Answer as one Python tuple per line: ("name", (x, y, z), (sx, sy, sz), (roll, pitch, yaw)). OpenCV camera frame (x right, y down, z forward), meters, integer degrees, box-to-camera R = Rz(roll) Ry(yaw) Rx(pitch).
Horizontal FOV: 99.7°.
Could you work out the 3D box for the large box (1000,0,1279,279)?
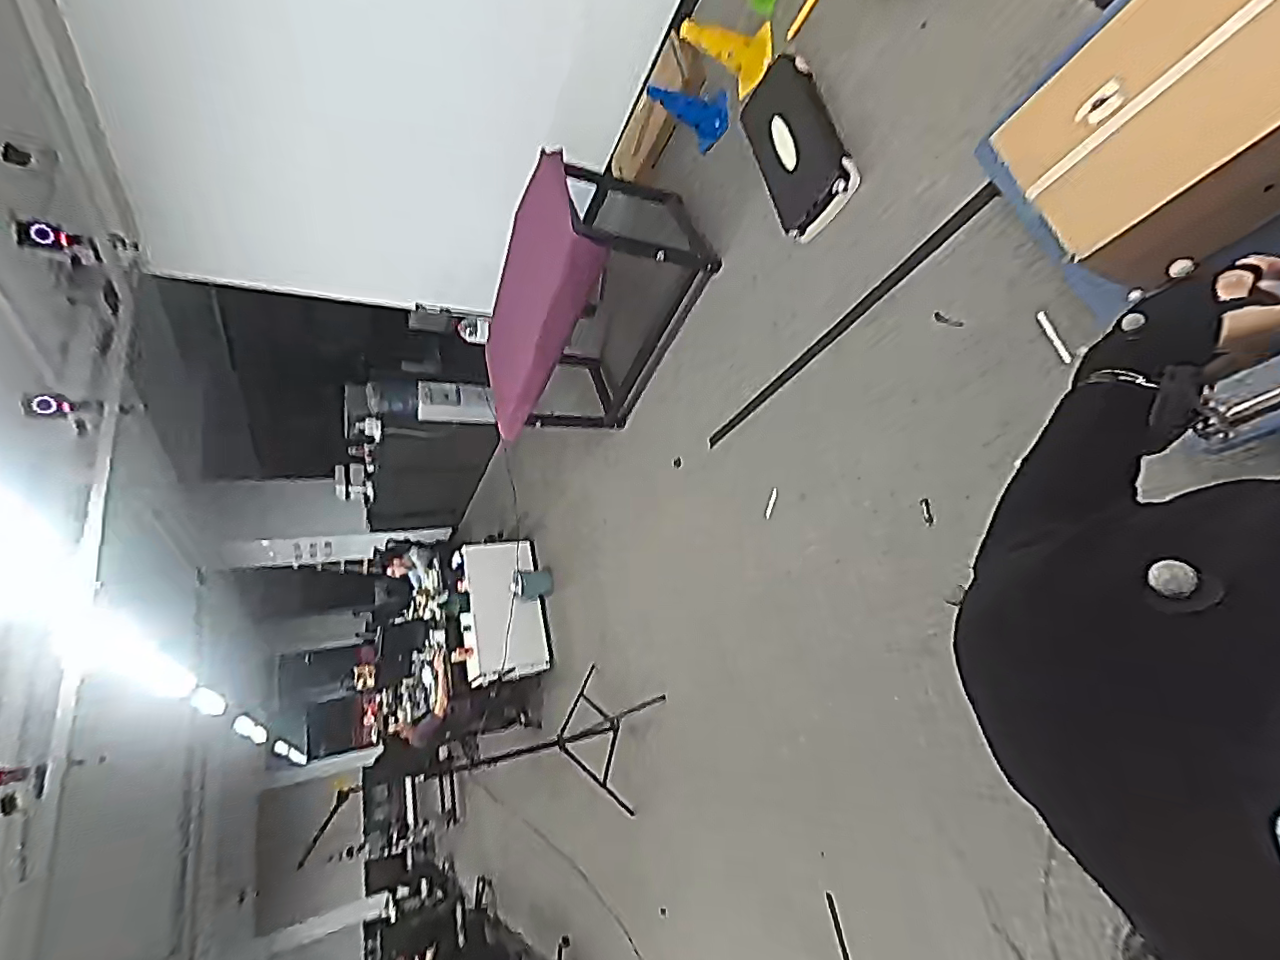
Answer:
("large box", (0.913, -0.596, 0.860), (0.408, 0.320, 0.320), (-45, 53, 52))
